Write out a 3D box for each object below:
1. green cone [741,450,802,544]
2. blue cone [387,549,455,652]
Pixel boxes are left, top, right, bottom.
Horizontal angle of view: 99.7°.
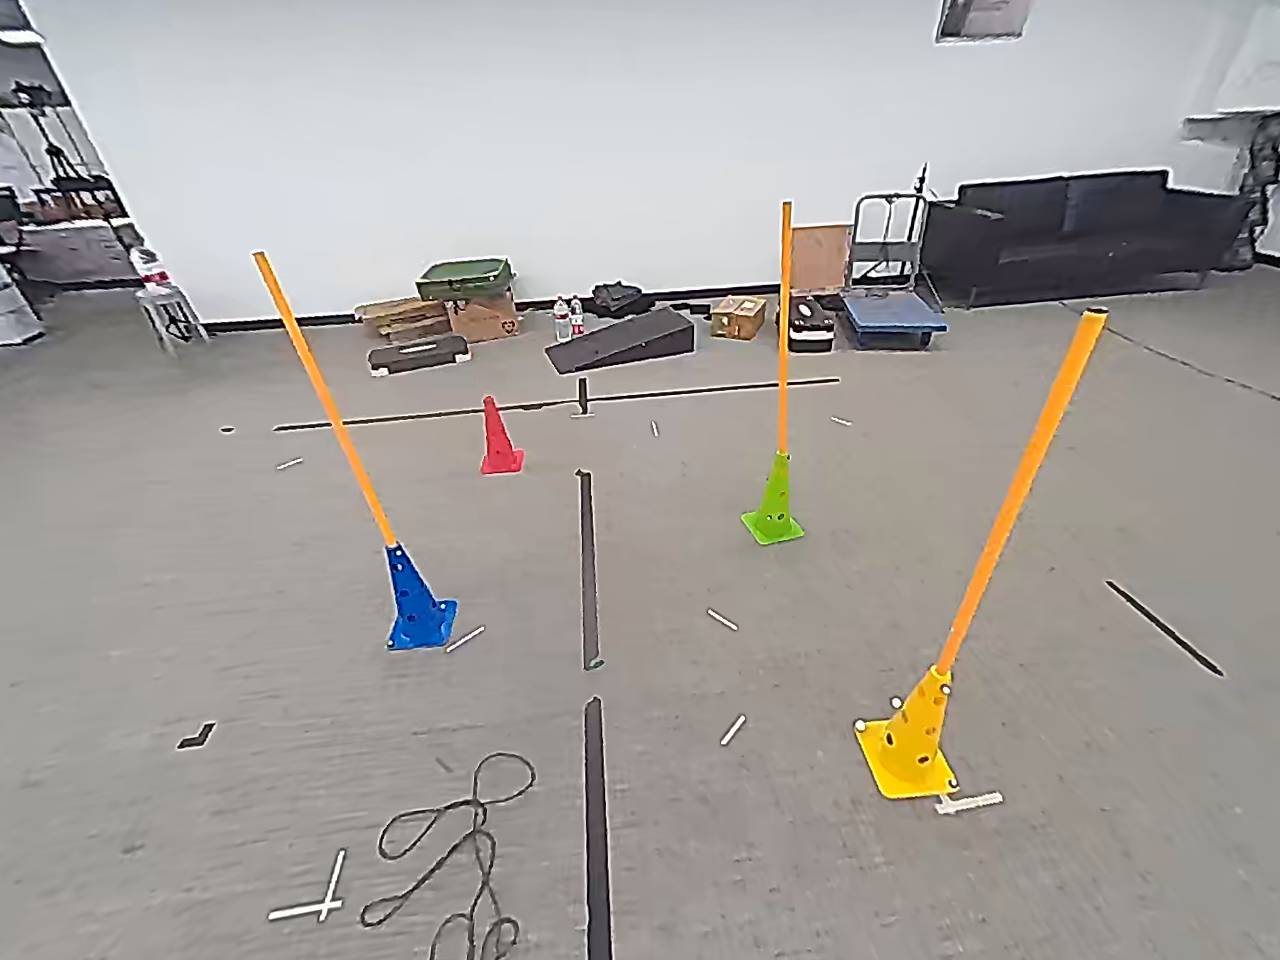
[{"bbox_3d":[0.531,0.042,2.118,0.200,0.368,0.202,-12,37,-13],"label":"green cone"},{"bbox_3d":[-0.742,0.367,1.748,0.193,0.380,0.192,-4,35,-2],"label":"blue cone"}]
